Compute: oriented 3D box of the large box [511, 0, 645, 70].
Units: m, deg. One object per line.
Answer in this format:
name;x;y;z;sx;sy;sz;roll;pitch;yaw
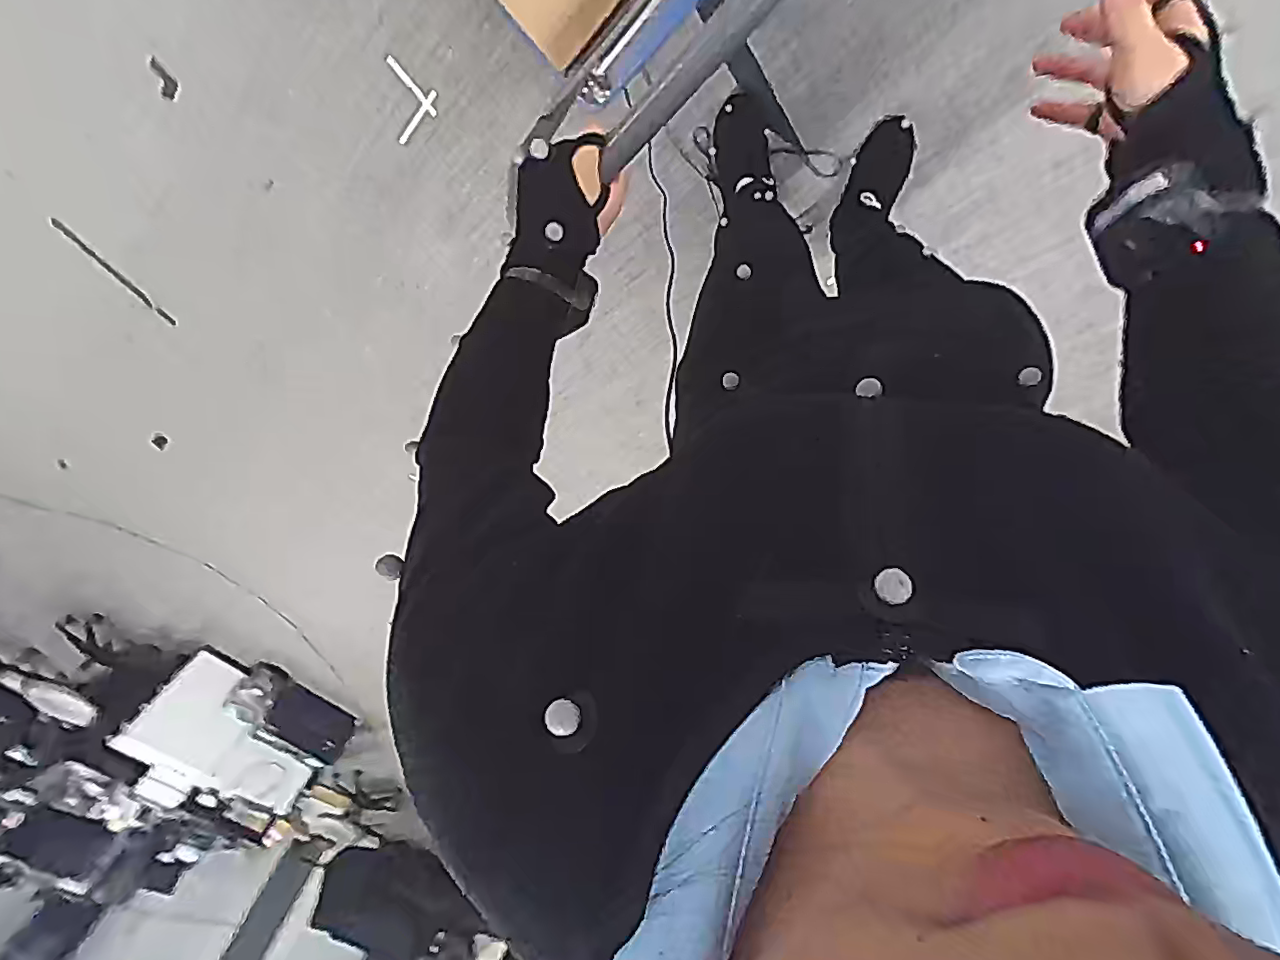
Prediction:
large box;-0.045;-0.849;0.693;0.408;0.320;0.320;-31;123;33
